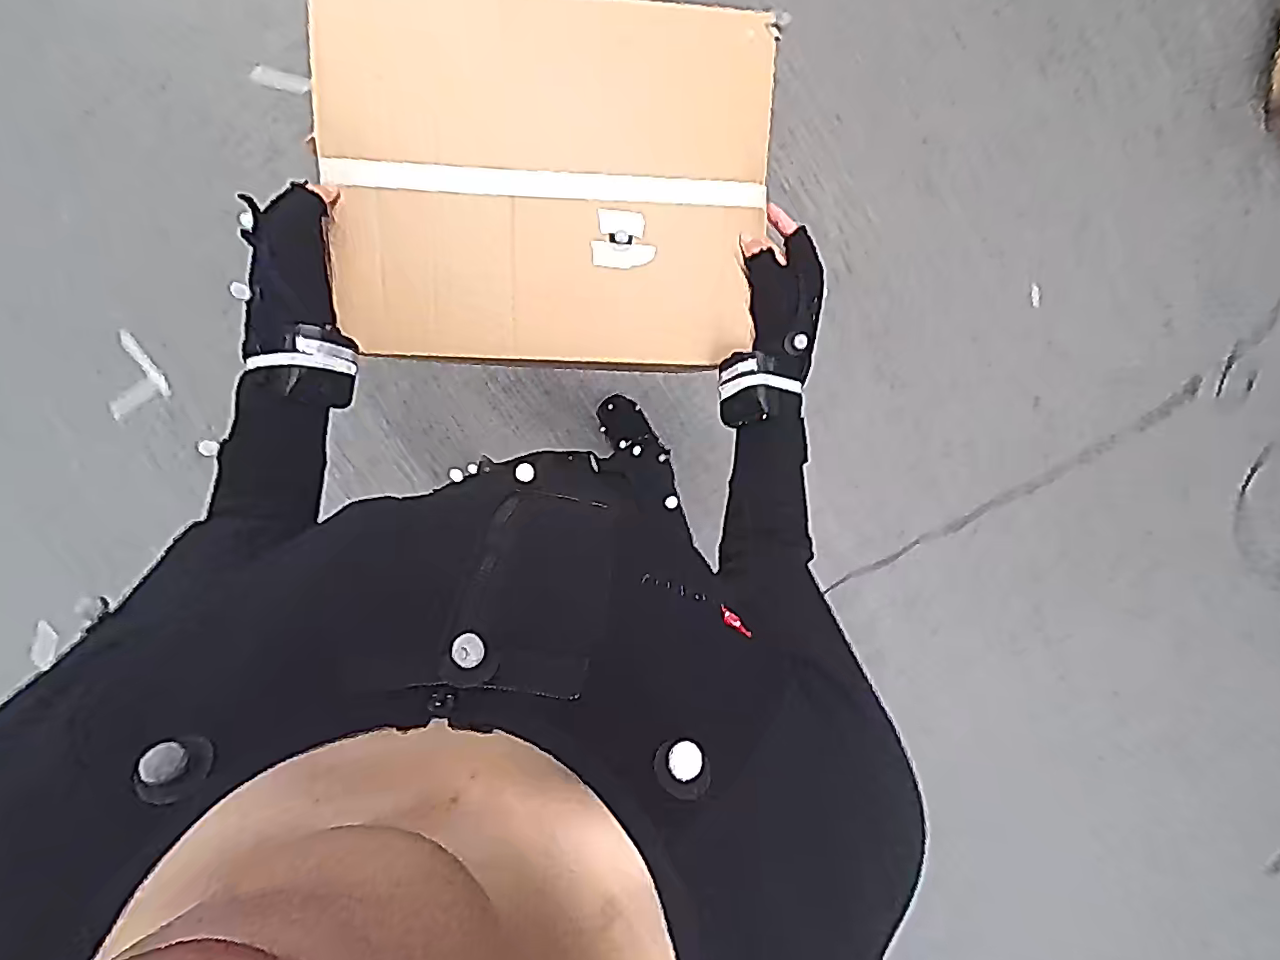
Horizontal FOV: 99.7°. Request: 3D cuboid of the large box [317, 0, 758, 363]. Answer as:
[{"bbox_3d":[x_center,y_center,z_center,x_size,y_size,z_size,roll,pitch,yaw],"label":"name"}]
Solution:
[{"bbox_3d":[-0.101,-0.309,0.661,0.408,0.320,0.320,-1,101,-6],"label":"large box"}]
